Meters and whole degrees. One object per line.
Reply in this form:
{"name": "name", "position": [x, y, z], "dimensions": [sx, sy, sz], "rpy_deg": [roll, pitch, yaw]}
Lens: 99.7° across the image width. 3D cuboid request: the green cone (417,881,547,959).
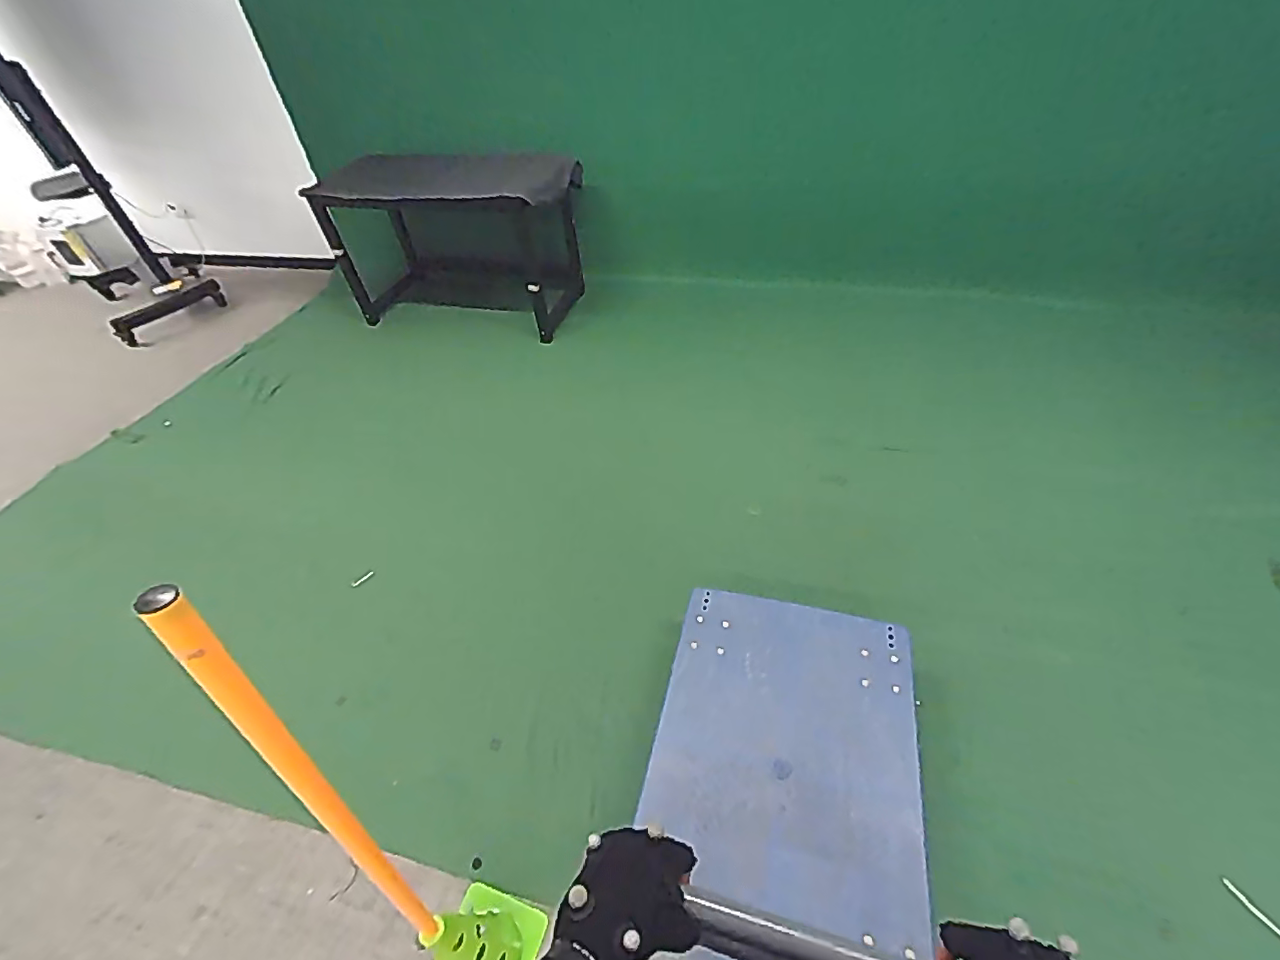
{"name": "green cone", "position": [-0.333, 0.868, 1.024], "dimensions": [0.202, 0.368, 0.200], "rpy_deg": [10, 45, 17]}
